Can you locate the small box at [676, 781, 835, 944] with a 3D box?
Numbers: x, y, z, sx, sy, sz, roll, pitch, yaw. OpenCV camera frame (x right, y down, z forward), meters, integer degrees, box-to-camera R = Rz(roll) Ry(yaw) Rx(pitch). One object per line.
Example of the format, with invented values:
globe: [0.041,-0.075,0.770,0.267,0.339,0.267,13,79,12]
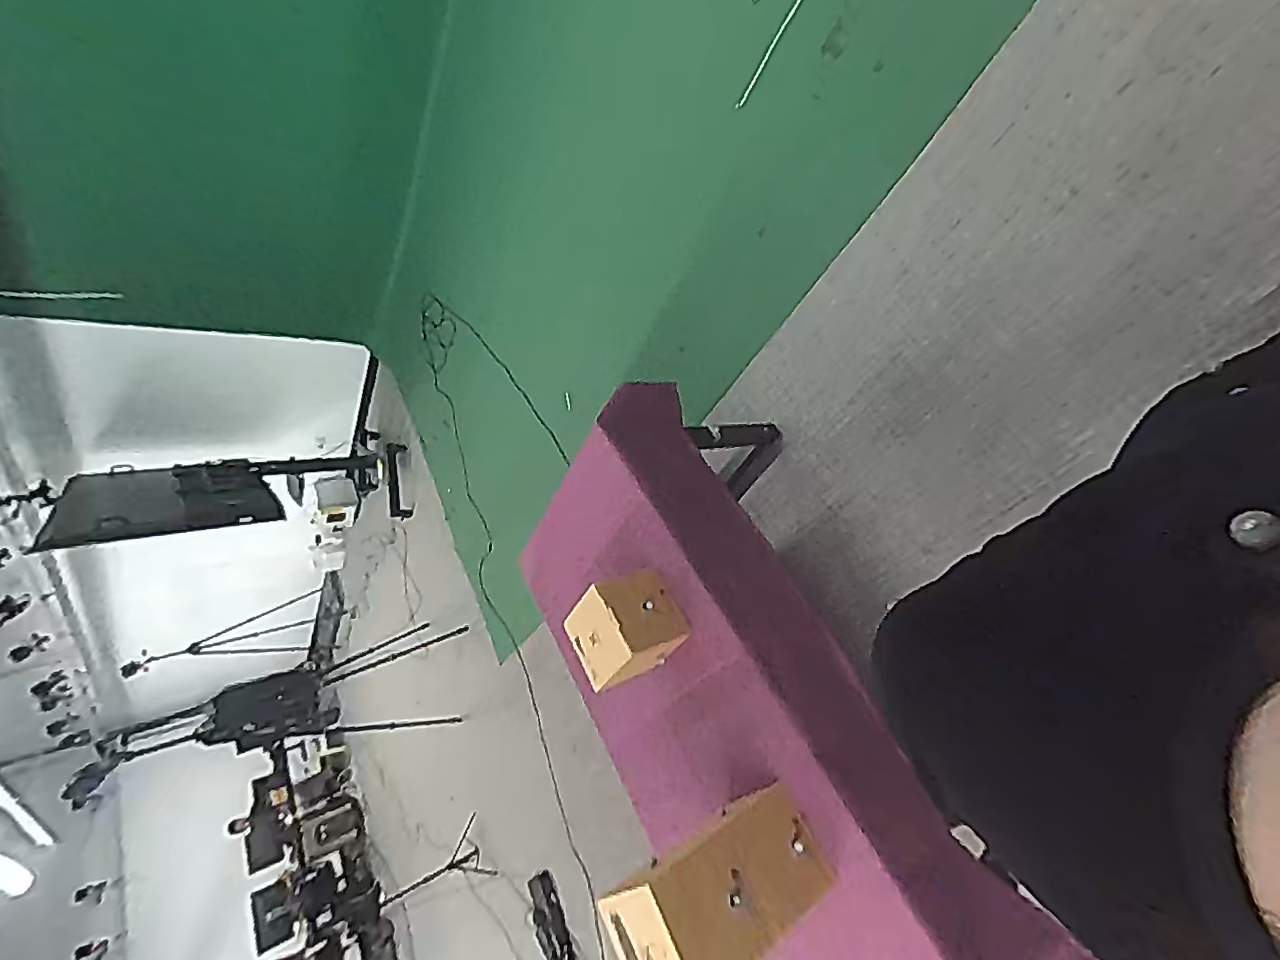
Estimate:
small box: [0.203,0.666,0.951,0.179,0.176,0.168,-52,58,38]

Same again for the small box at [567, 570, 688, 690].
small box: [-0.023,0.314,1.158,0.168,0.176,0.179,58,133,26]
